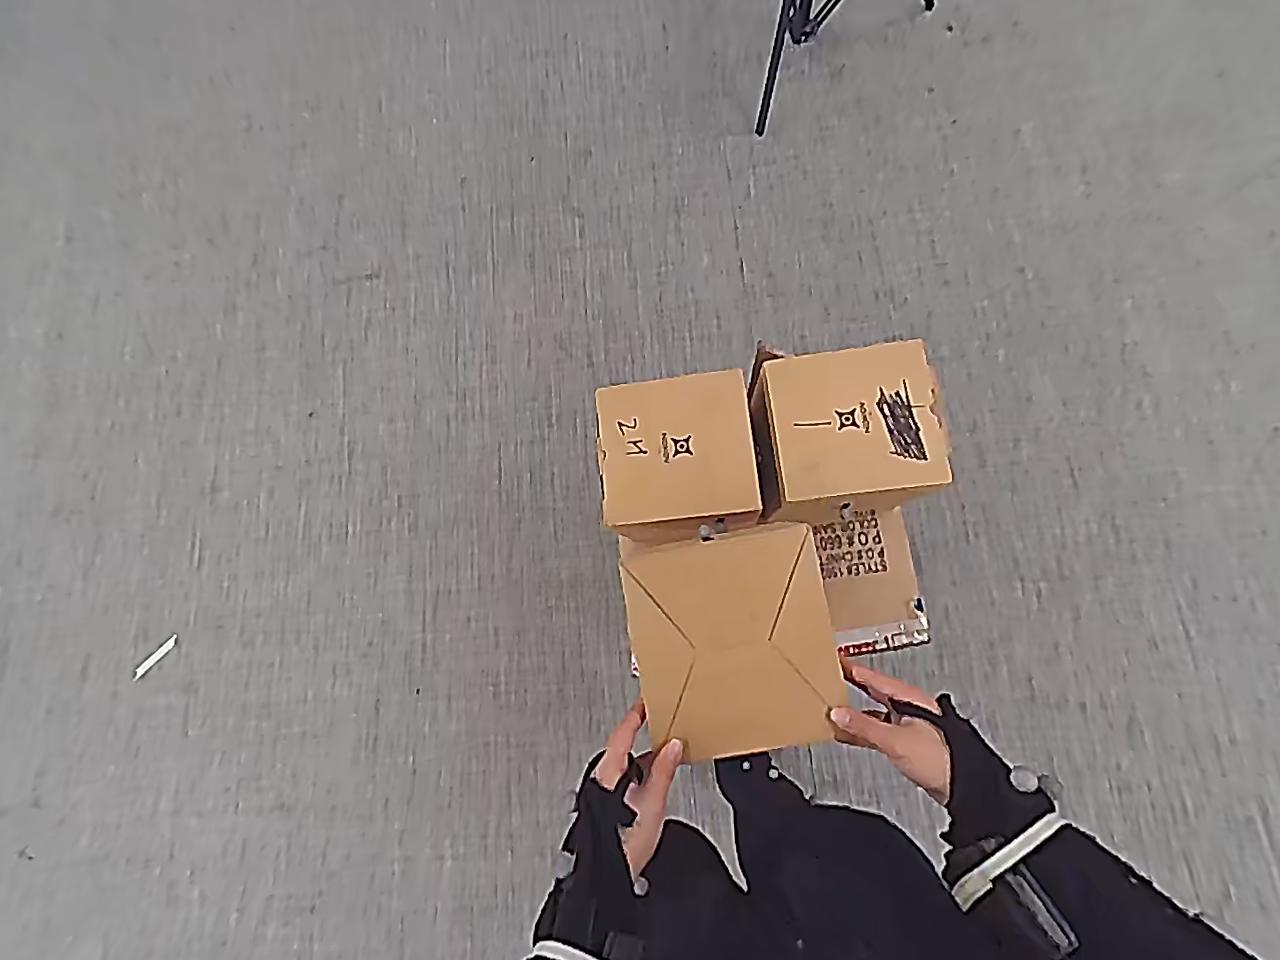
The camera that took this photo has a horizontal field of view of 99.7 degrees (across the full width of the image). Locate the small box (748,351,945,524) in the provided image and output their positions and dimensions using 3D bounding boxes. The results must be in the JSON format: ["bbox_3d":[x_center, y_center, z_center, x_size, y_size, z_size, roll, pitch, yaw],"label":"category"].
[{"bbox_3d":[0.239,-0.042,0.673,0.179,0.176,0.168,-7,78,5],"label":"small box"}]
